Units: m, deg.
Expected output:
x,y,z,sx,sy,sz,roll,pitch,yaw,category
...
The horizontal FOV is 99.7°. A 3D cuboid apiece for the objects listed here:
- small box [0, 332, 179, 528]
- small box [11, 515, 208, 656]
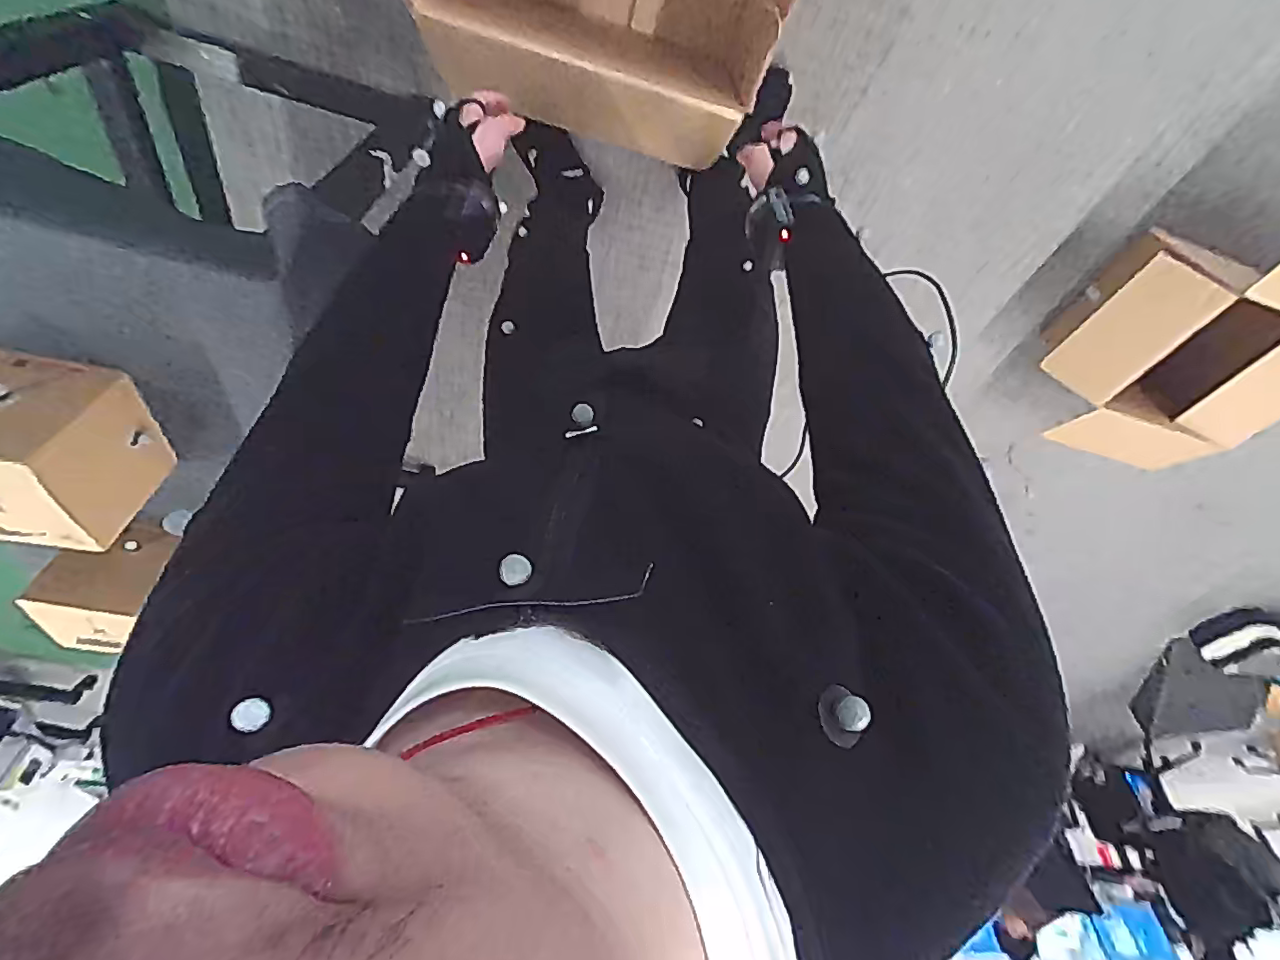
x,y,z,sx,sy,sz,roll,pitch,yaw,category
-0.751,-0.063,0.686,0.168,0.176,0.179,8,138,-8,small box
-0.884,0.177,0.928,0.168,0.176,0.179,16,136,-18,small box
